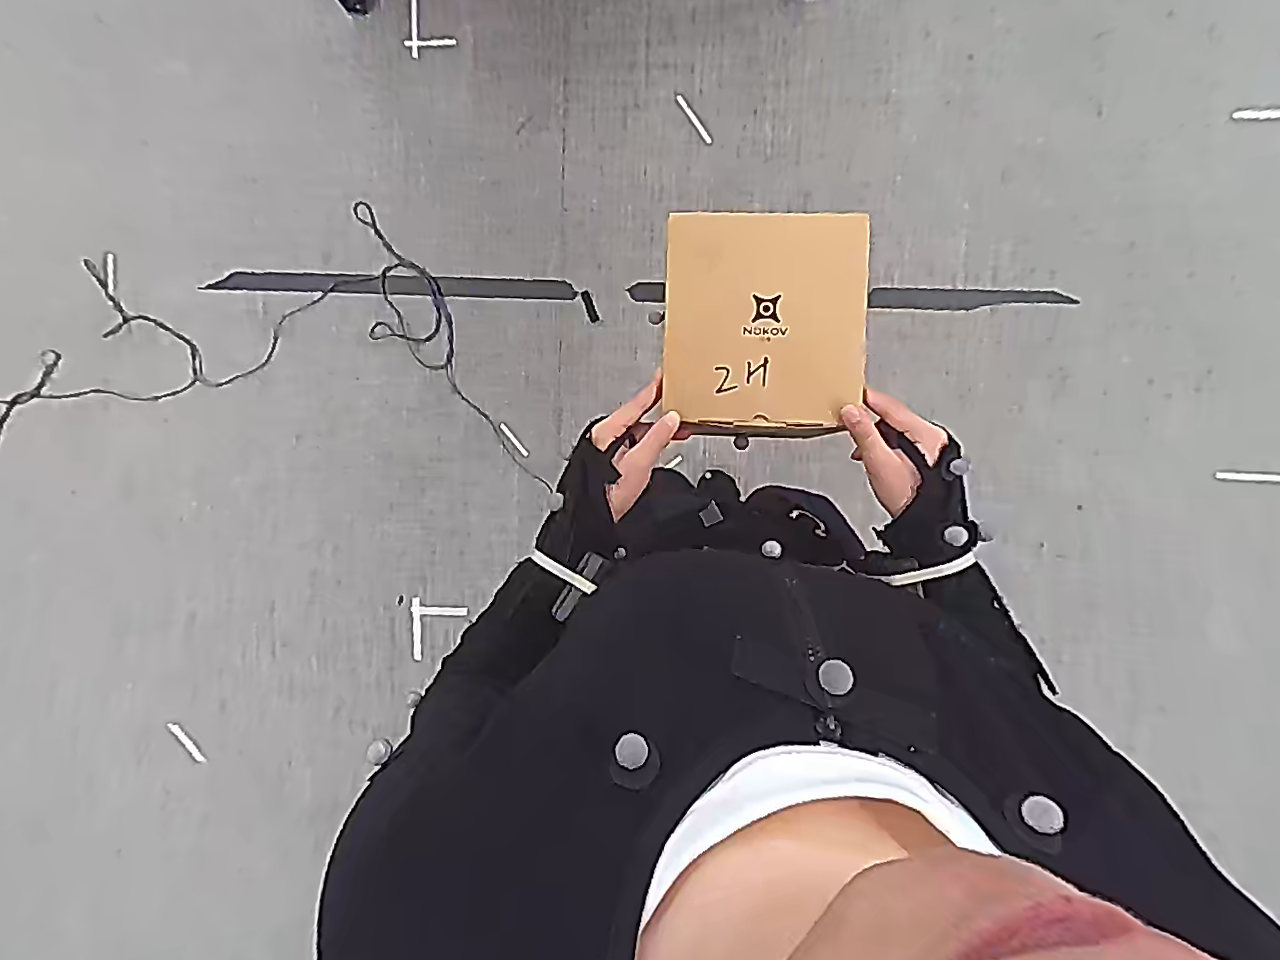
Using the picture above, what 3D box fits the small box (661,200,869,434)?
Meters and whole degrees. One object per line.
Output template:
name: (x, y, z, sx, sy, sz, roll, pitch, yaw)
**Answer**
small box: (0.106, -0.142, 0.523, 0.168, 0.176, 0.179, 2, 91, 4)
